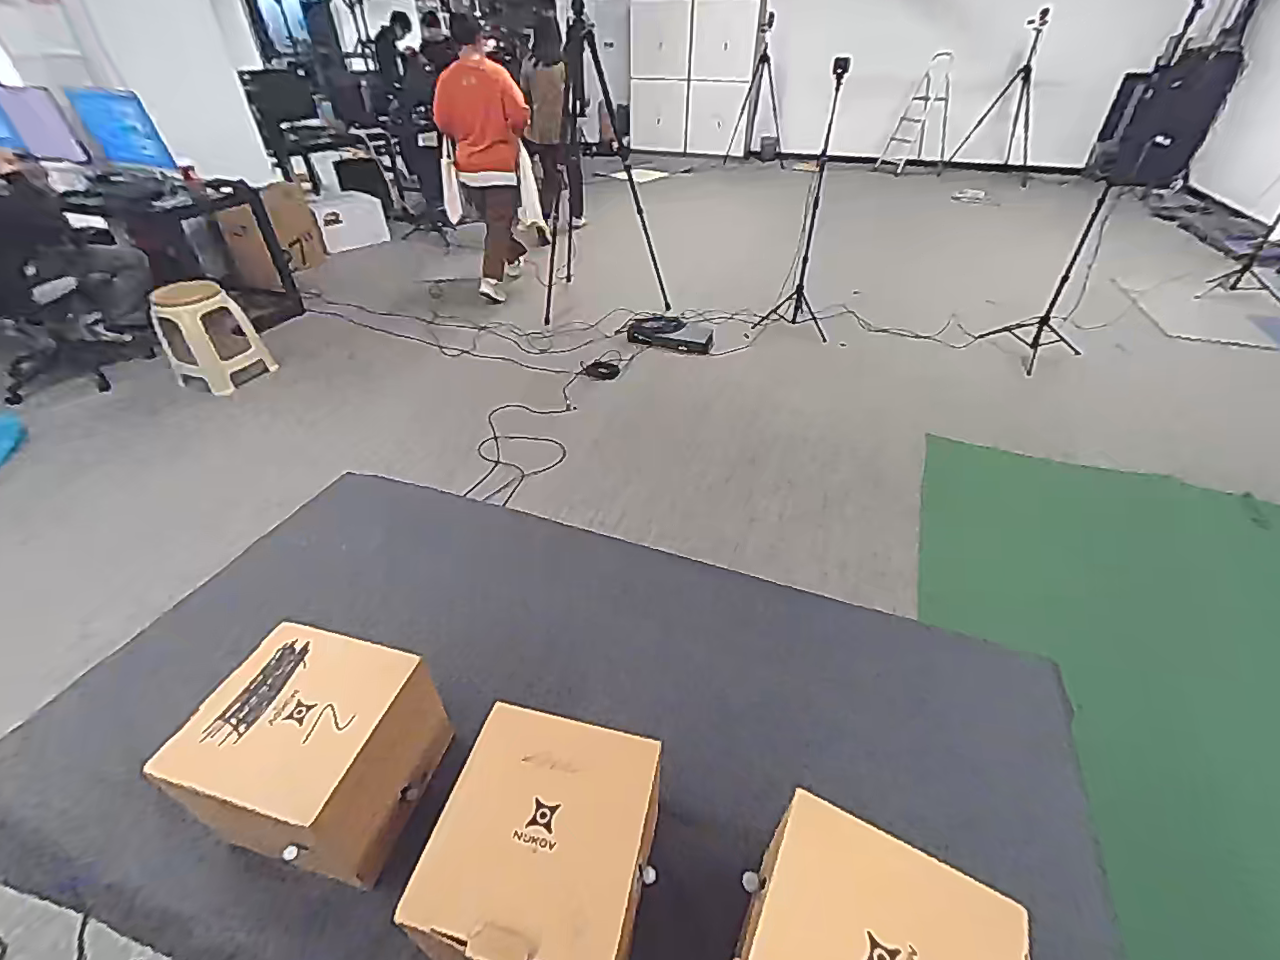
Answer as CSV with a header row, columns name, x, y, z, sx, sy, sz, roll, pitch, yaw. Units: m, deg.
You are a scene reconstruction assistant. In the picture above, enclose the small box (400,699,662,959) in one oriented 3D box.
name,x,y,z,sx,sy,sz,roll,pitch,yaw
small box,-0.078,0.338,0.492,0.168,0.176,0.179,9,39,10
